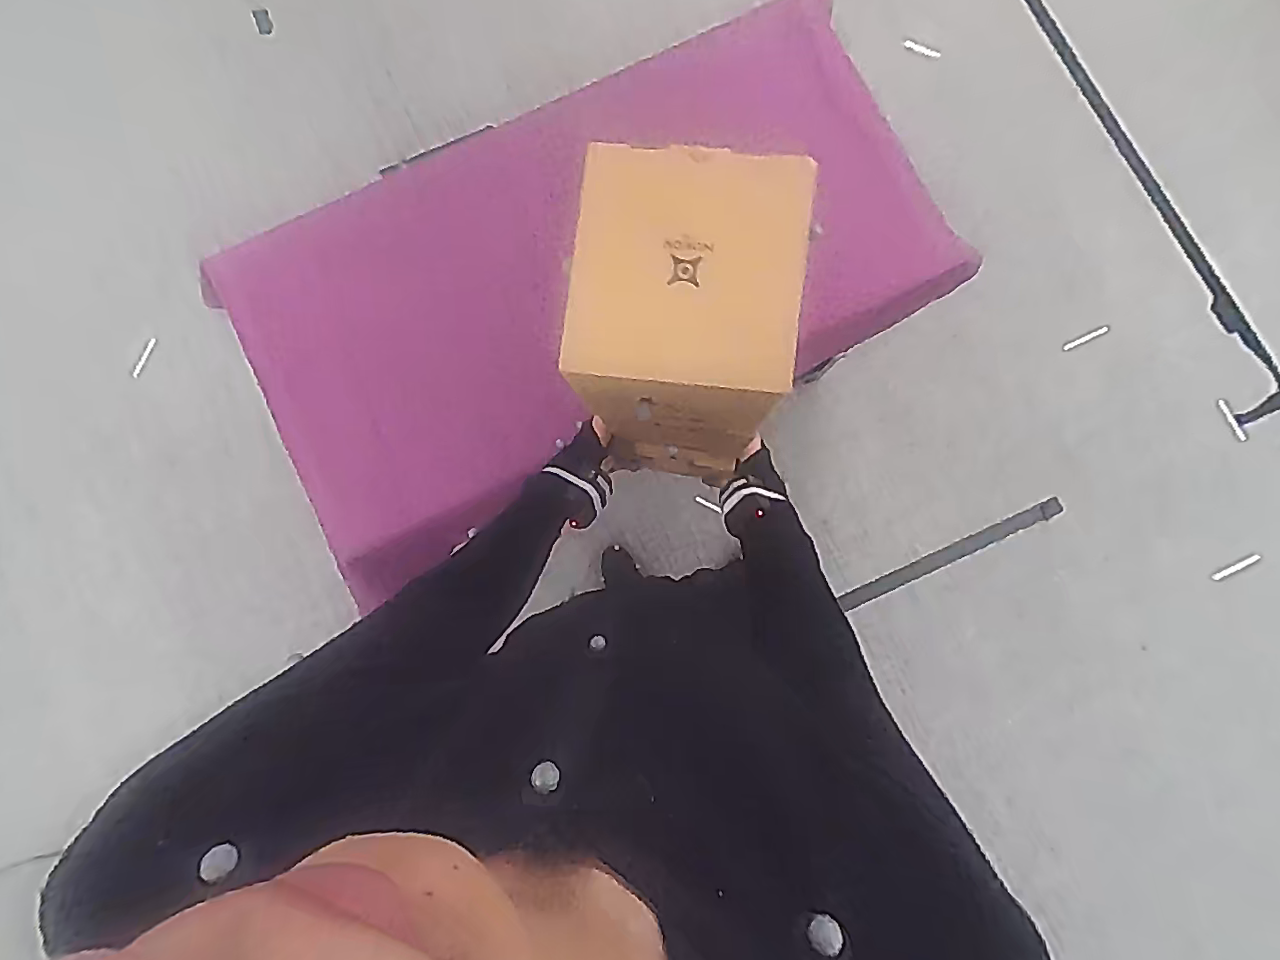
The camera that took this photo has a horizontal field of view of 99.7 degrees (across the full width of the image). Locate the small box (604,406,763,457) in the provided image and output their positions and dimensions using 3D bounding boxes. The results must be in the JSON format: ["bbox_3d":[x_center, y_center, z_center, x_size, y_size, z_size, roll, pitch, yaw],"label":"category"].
[{"bbox_3d":[0.061,-0.134,0.620,0.168,0.176,0.179,10,86,6],"label":"small box"}]

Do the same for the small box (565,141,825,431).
[{"bbox_3d":[0.045,-0.145,0.458,0.168,0.176,0.179,7,85,5],"label":"small box"}]
